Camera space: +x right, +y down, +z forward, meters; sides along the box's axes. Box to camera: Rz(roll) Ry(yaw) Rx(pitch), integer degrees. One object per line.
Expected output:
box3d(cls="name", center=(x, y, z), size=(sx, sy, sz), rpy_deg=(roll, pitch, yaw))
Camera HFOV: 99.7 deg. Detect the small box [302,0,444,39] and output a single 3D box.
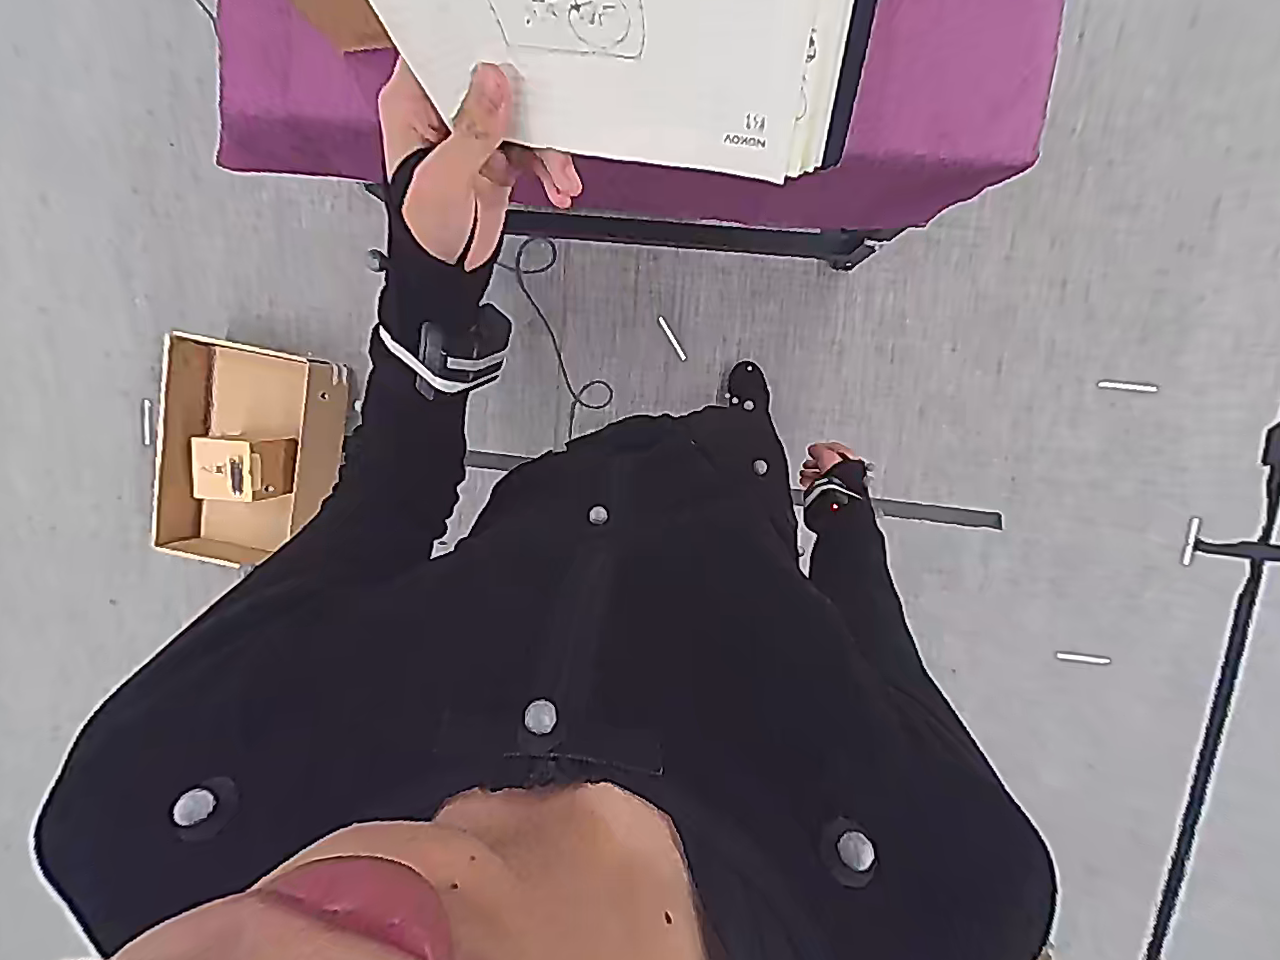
box3d(cls="small box", center=(-0.371, -0.718, 0.706), size=(0.168, 0.176, 0.179), rpy_deg=(-2, 98, 3))
